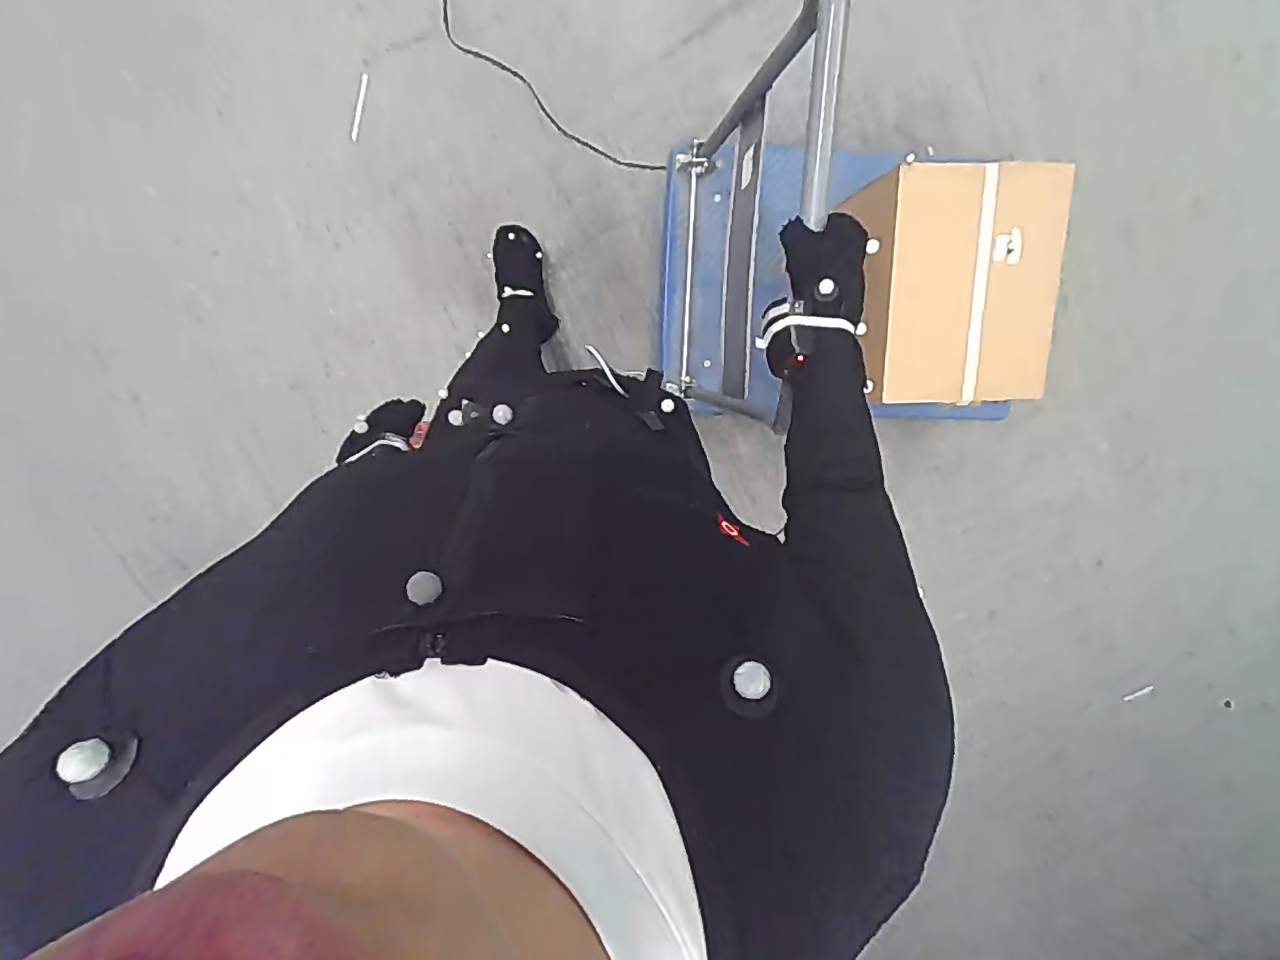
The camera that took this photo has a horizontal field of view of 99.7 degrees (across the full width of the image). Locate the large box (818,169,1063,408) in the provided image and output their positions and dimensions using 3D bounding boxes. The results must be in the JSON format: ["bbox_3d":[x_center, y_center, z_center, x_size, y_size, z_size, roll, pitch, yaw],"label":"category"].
[{"bbox_3d":[0.574,-0.362,1.105,0.320,0.320,0.408,-2,102,-5],"label":"large box"}]
